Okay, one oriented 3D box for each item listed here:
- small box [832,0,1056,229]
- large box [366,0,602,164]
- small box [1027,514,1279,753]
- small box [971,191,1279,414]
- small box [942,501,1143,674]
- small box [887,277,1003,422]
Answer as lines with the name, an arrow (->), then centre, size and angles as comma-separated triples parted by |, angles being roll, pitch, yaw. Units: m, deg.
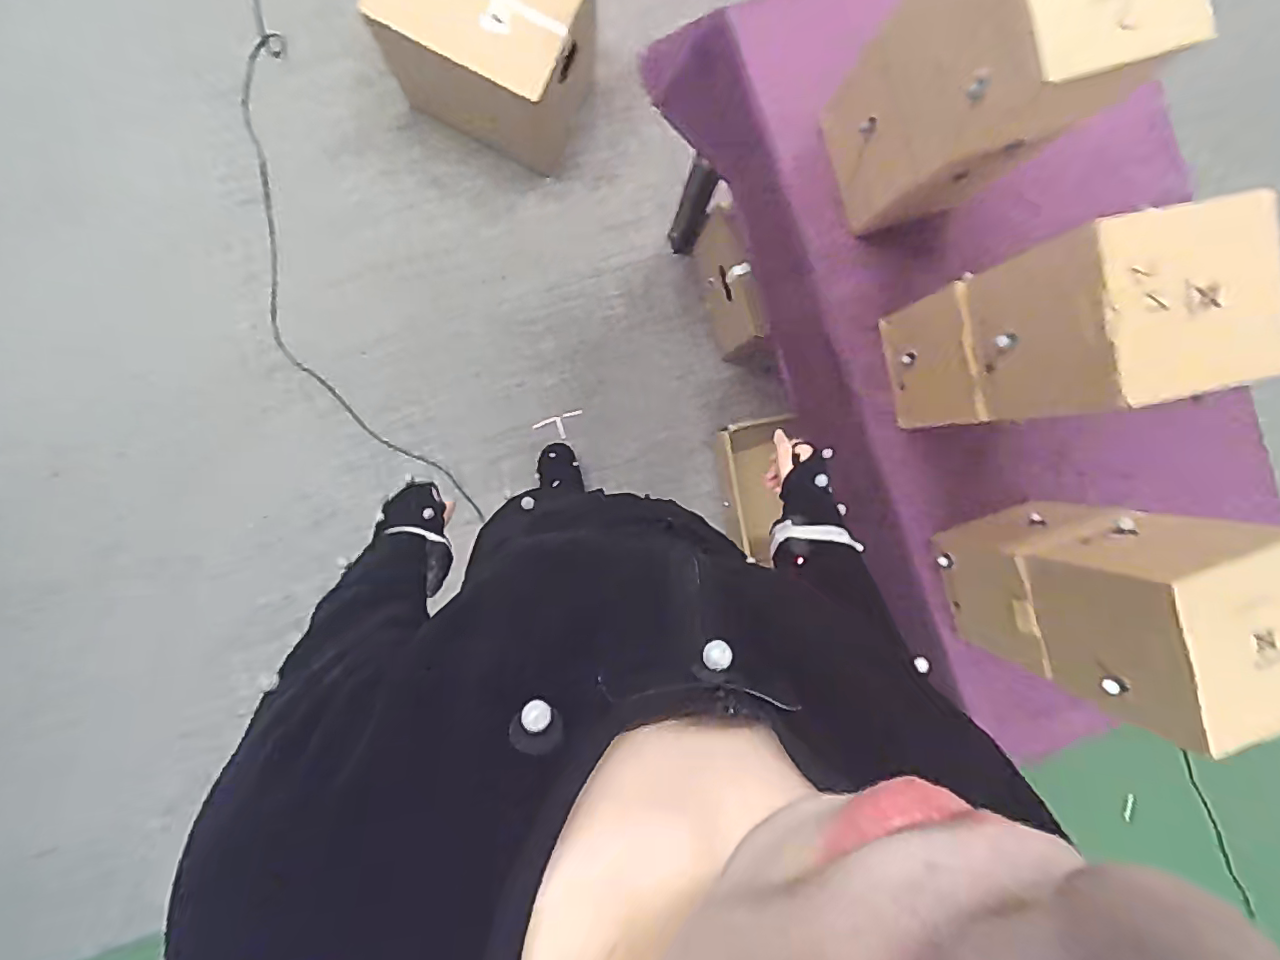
small box -> 0.371, -0.456, 0.691 | 0.168, 0.176, 0.179 | -17, 94, -3
large box -> -0.334, -1.038, 1.258 | 0.408, 0.320, 0.320 | 25, 92, -7
small box -> 0.566, 0.147, 0.580 | 0.168, 0.176, 0.179 | -16, 94, -5
small box -> 0.485, -0.165, 0.555 | 0.179, 0.176, 0.168 | -11, 94, -4
small box -> 0.548, 0.134, 0.742 | 0.179, 0.176, 0.168 | -17, 95, -5
small box -> 0.463, -0.174, 0.718 | 0.179, 0.176, 0.168 | -13, 94, -3
